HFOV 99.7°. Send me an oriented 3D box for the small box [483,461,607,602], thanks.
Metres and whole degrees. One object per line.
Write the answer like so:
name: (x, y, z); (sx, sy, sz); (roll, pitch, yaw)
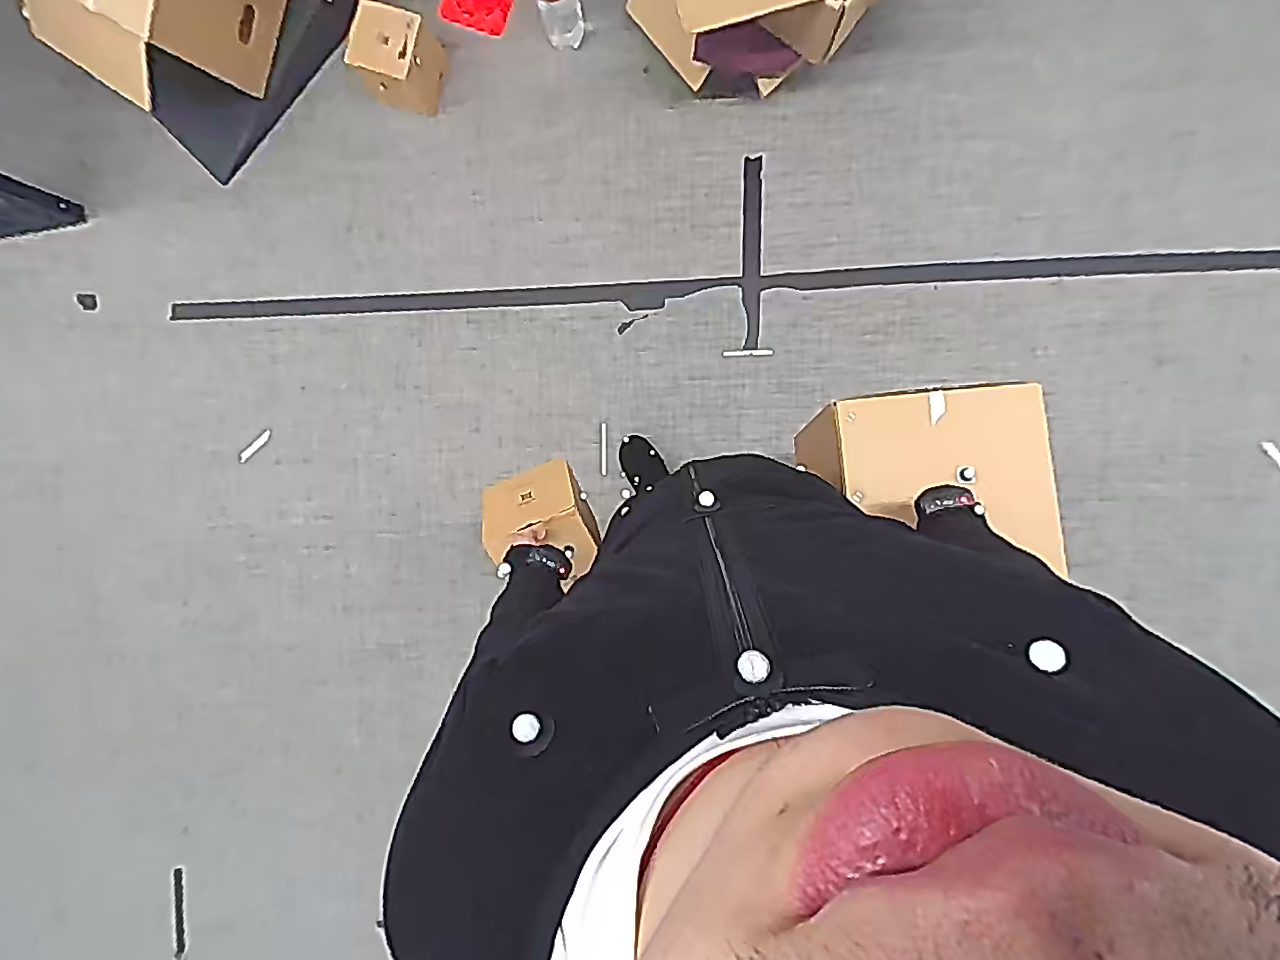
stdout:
small box: (-0.172, 0.100, 0.993); (0.168, 0.179, 0.176); (-22, 123, -1)
